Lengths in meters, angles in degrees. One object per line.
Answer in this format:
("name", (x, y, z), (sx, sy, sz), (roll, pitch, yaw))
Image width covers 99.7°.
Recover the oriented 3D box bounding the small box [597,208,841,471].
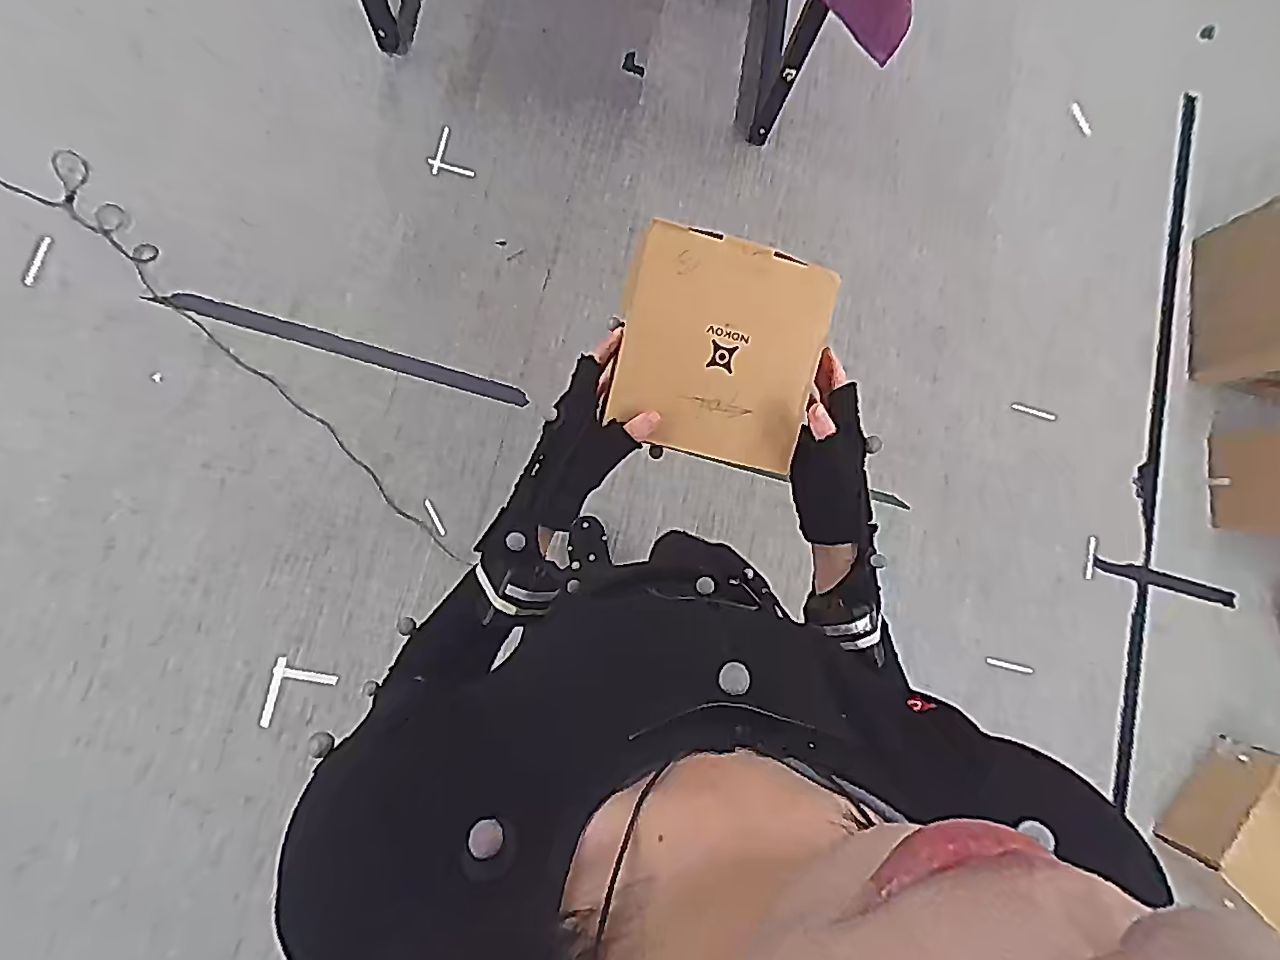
("small box", (0.057, -0.119, 0.514), (0.168, 0.176, 0.179), (13, 96, -8))
